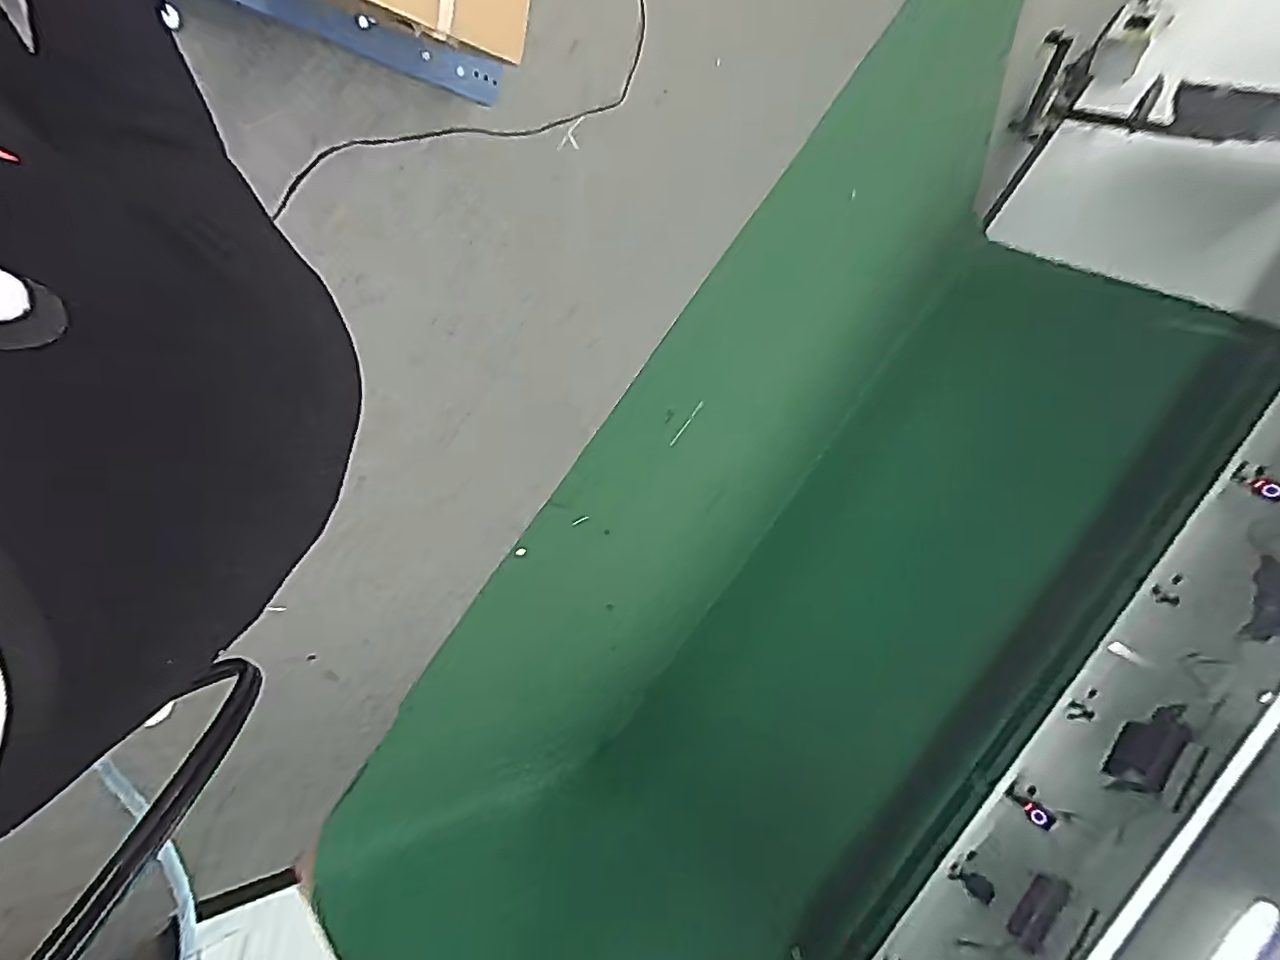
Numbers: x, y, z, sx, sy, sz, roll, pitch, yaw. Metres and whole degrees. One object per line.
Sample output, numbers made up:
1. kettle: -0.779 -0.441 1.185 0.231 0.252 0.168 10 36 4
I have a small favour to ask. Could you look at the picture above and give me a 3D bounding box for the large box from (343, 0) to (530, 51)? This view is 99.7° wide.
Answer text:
1. large box: -0.361 -0.959 0.823 0.320 0.320 0.408 -18 134 -47
